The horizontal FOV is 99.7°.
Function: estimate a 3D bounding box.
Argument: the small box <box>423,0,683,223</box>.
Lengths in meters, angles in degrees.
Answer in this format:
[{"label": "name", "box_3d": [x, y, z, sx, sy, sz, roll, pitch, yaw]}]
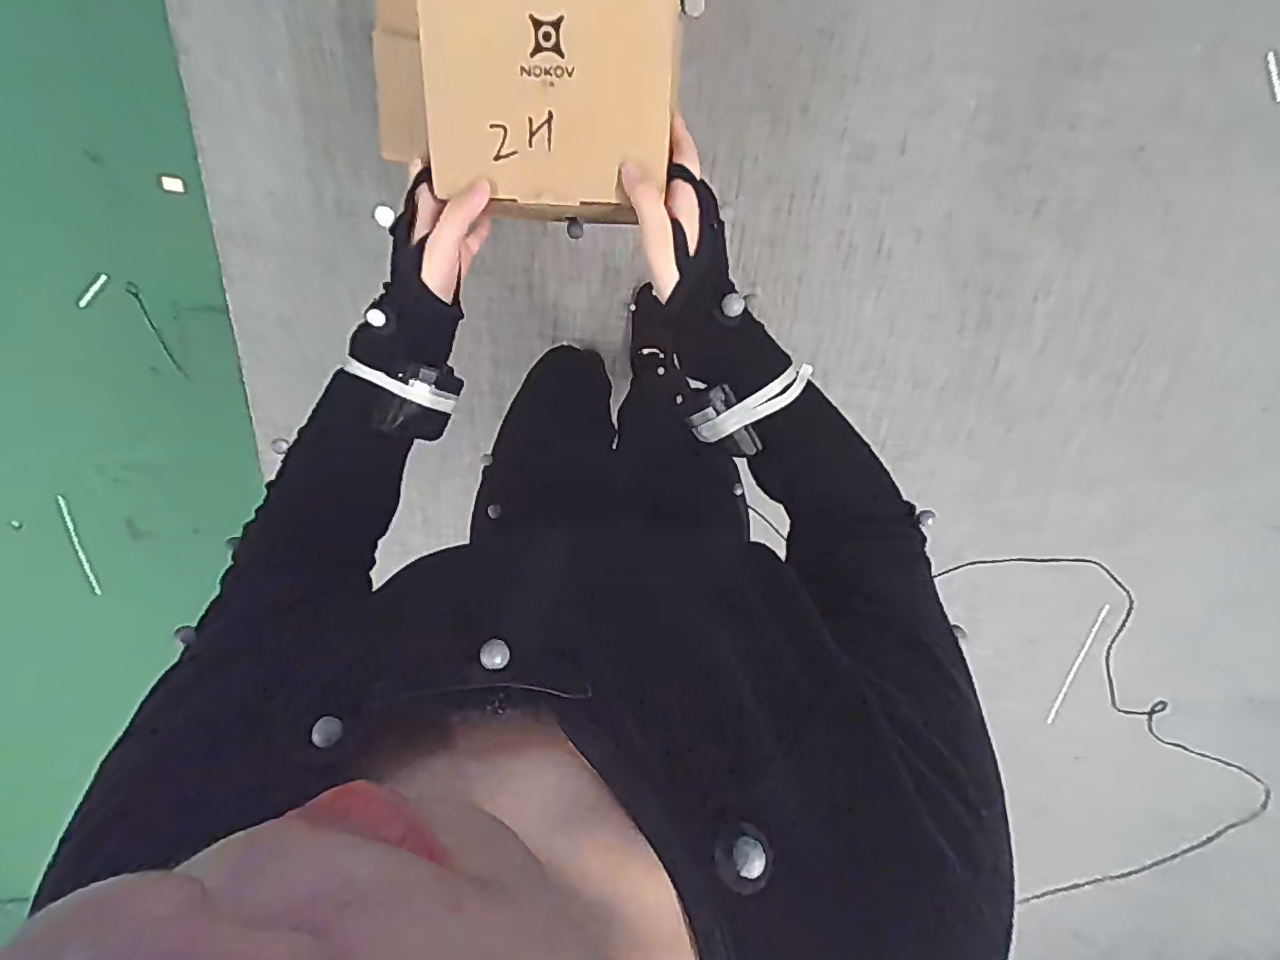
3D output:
[{"label": "small box", "box_3d": [-0.054, -0.311, 0.427, 0.168, 0.176, 0.179, 5, 112, 3]}]
